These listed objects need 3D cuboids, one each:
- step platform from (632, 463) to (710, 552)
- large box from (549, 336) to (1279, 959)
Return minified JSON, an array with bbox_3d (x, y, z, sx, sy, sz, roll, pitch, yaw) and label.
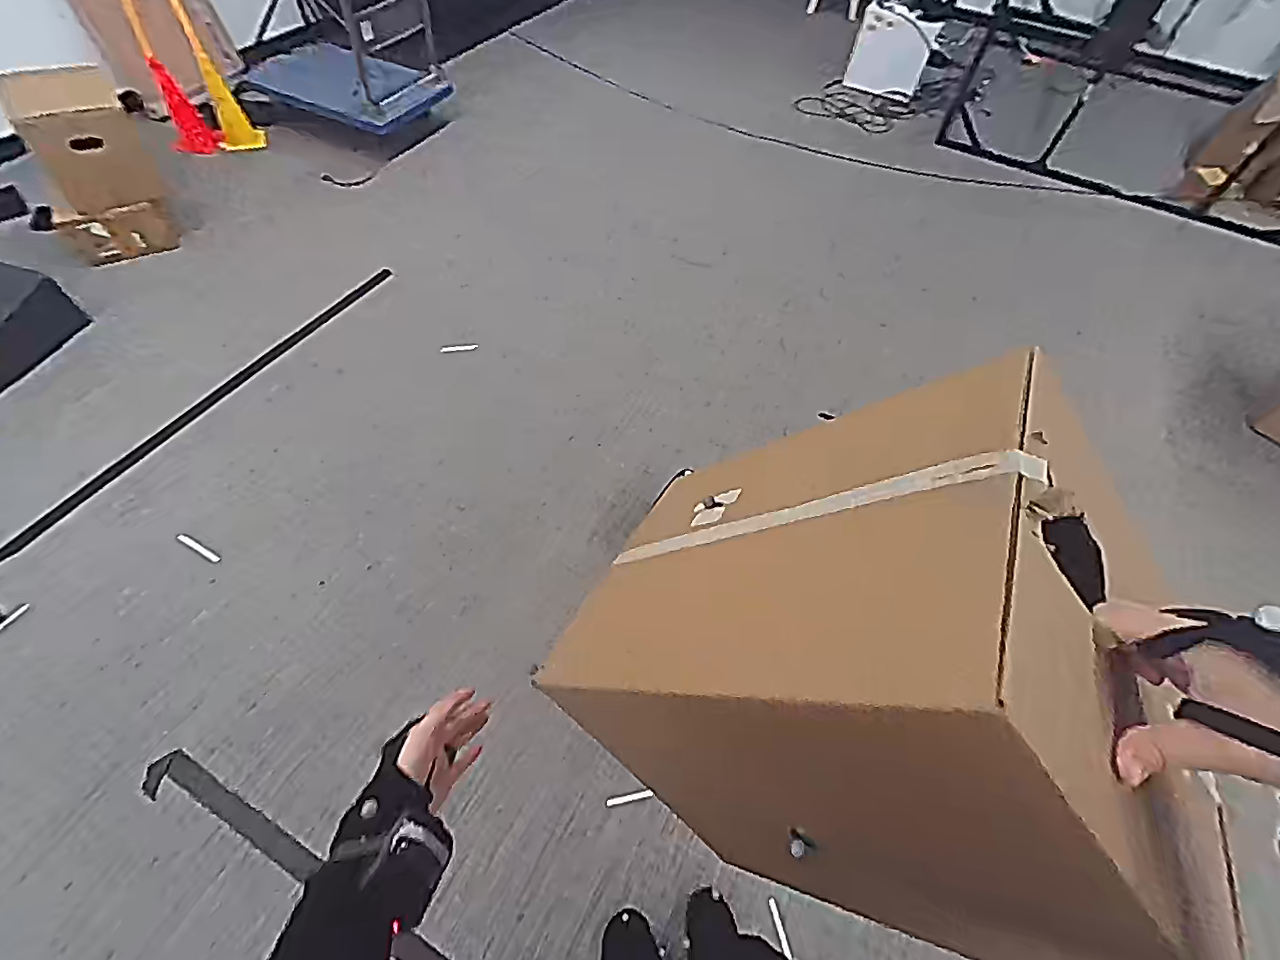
[{"bbox_3d":[0.317,0.233,1.492,0.684,0.204,0.286,30,59,16],"label":"step platform"},{"bbox_3d":[0.200,0.153,0.481,0.320,0.408,0.320,49,51,-13],"label":"large box"}]
